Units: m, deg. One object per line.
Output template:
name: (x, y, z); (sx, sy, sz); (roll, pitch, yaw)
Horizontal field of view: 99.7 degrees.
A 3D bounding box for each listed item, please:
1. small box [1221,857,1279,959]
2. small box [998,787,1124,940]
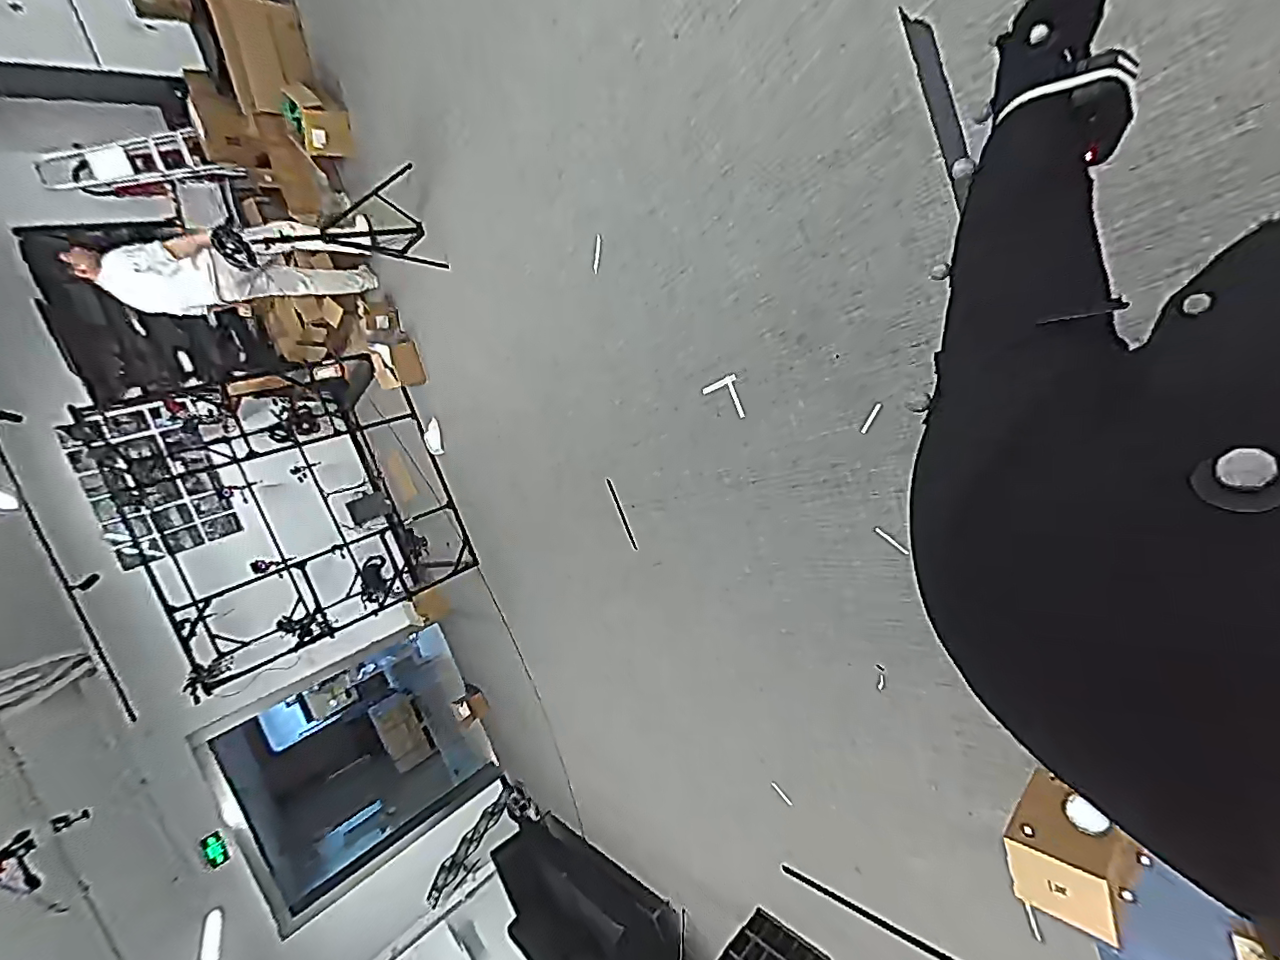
small box: (1.104, 0.787, 0.893); (0.168, 0.176, 0.179); (-10, 103, 53)
small box: (0.906, 0.803, 1.158); (0.179, 0.176, 0.168); (-3, 109, 53)
